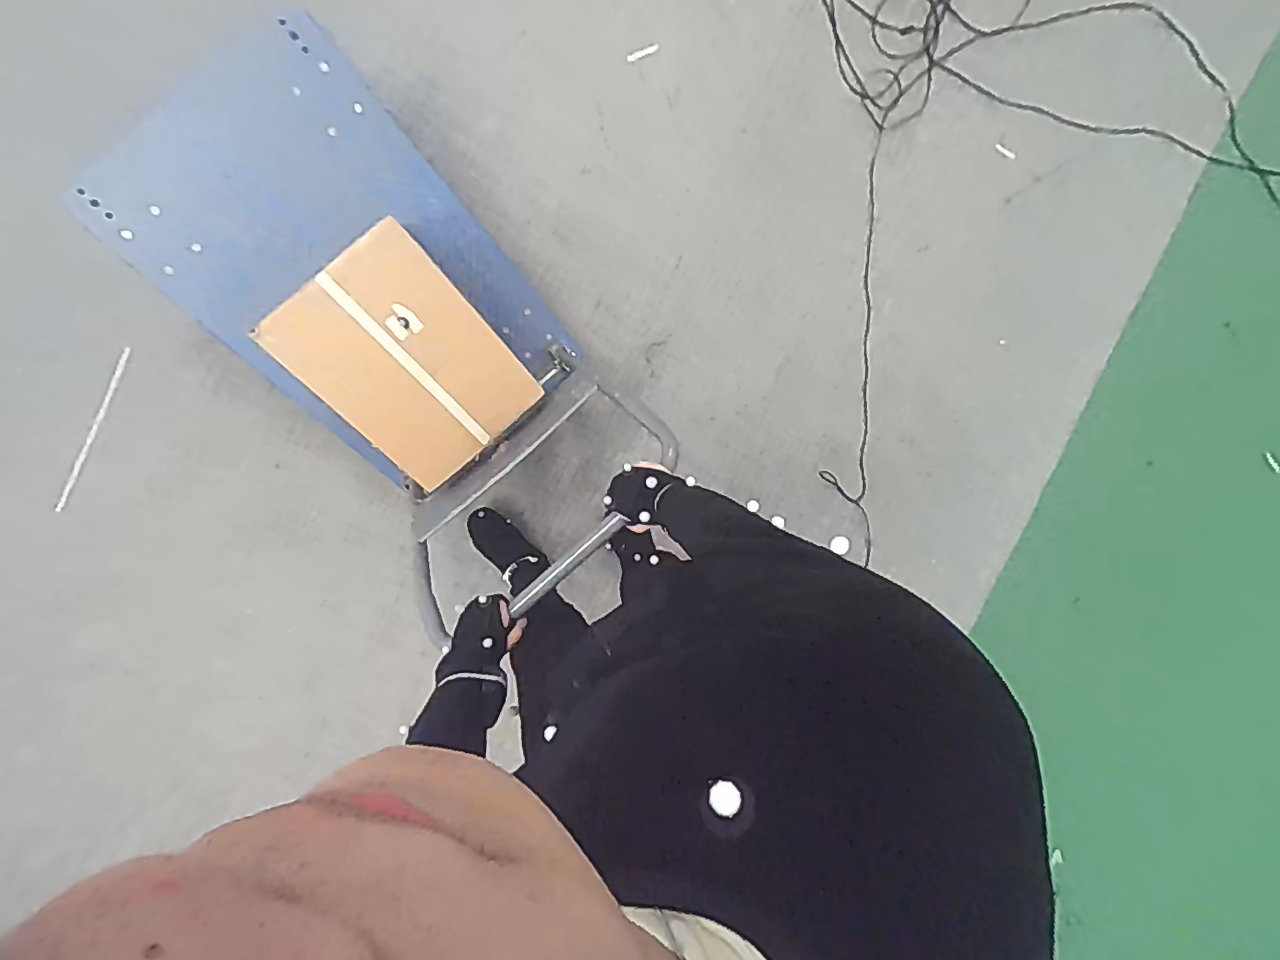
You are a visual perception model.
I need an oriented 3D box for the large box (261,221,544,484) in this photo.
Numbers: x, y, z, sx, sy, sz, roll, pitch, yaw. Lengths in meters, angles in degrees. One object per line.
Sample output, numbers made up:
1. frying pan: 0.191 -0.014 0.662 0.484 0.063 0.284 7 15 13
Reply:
1. large box: -0.467 -0.269 1.147 0.320 0.320 0.408 -41 118 -2
